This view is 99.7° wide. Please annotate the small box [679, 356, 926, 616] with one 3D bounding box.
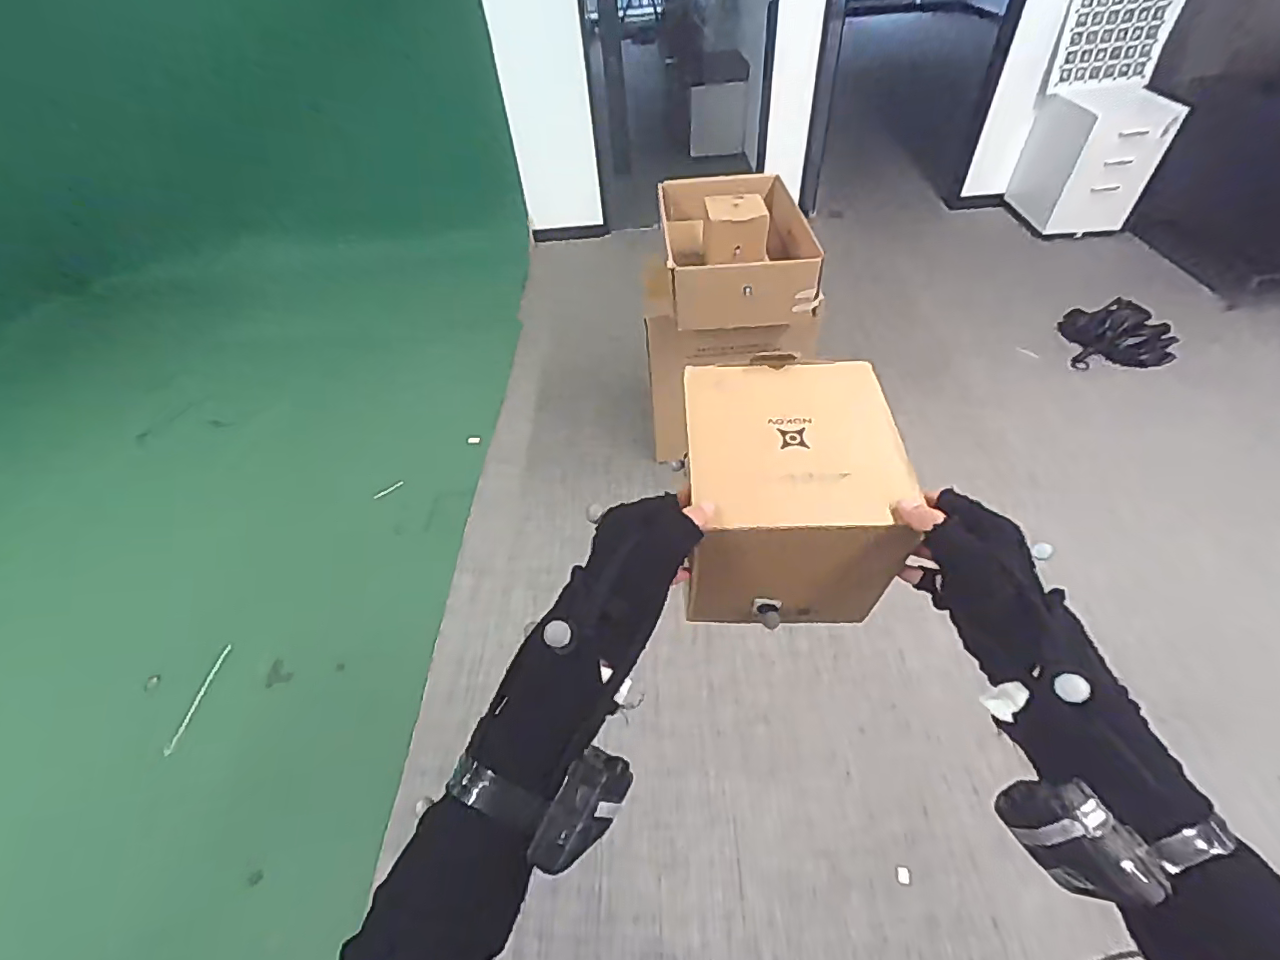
[{"bbox_3d":[0.122,0.008,0.493,0.168,0.176,0.179,-1,53,2],"label":"small box"}]
